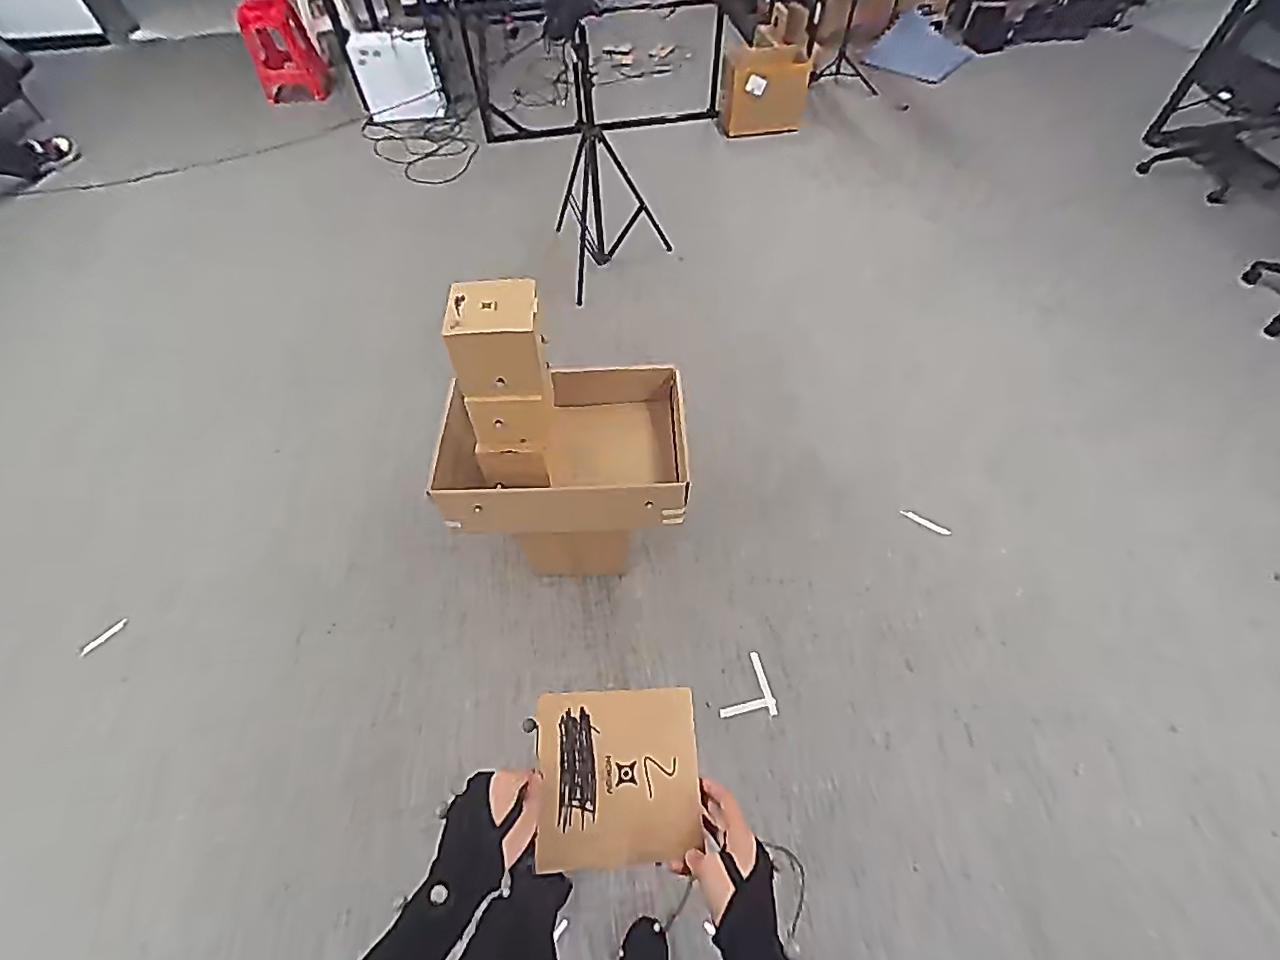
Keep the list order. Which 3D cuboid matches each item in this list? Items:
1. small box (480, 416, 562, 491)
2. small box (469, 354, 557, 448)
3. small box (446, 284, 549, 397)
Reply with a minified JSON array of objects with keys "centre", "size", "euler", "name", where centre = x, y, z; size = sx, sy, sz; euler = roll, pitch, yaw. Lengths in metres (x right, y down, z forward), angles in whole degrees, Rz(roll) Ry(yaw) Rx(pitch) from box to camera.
[{"centre":[-0.297,-0.085,1.389],"size":[0.168,0.176,0.179],"euler":[1,55,0],"name":"small box"},{"centre":[-0.287,-0.187,1.263],"size":[0.168,0.176,0.179],"euler":[-2,55,-2],"name":"small box"},{"centre":[-0.286,-0.289,1.134],"size":[0.179,0.176,0.168],"euler":[-2,54,-3],"name":"small box"}]
